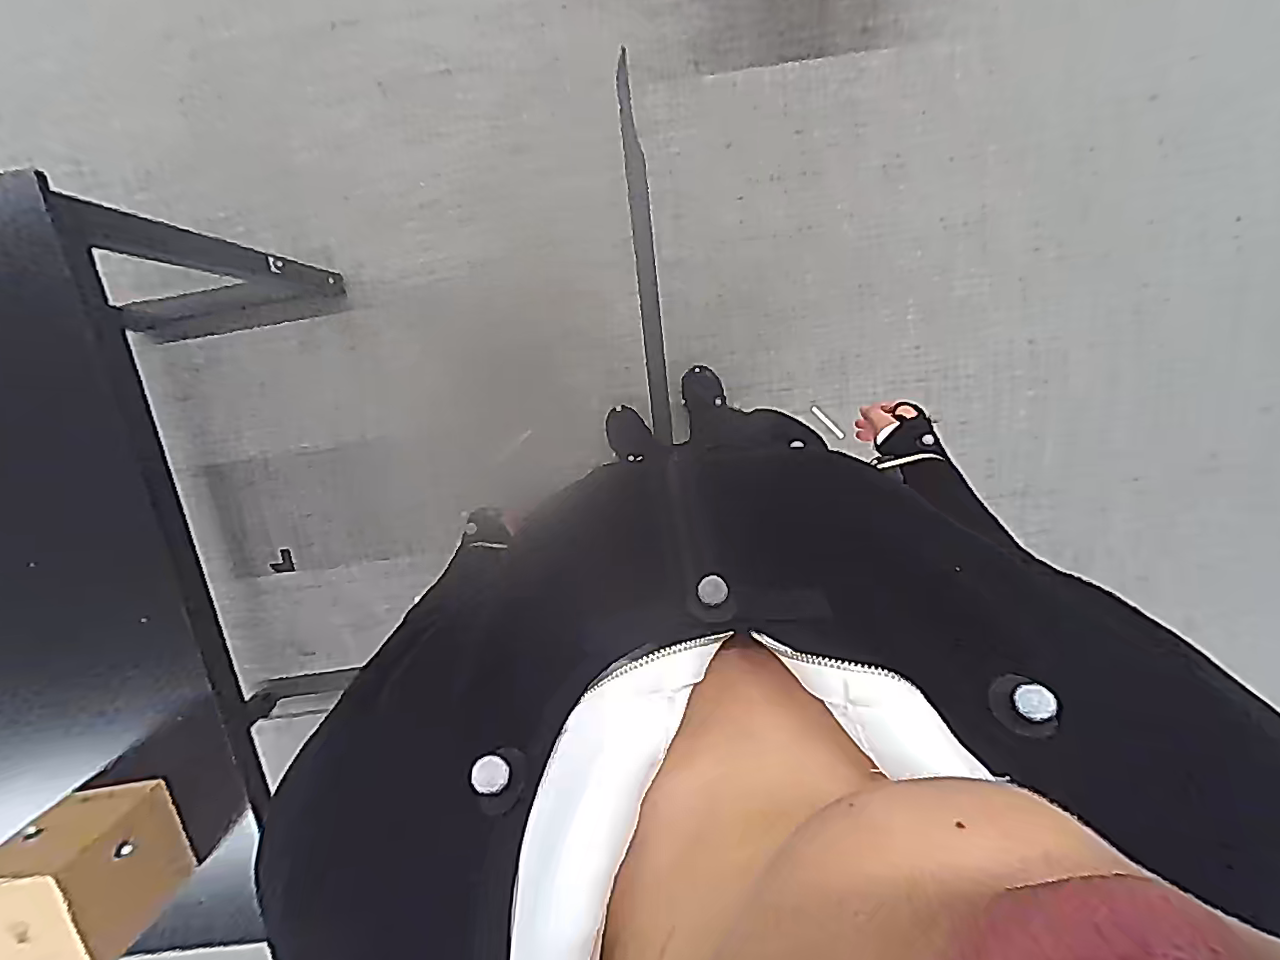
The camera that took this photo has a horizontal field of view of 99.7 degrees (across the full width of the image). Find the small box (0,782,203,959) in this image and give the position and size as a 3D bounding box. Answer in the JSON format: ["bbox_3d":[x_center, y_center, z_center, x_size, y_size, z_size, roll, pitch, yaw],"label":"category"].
[{"bbox_3d":[-0.815,0.581,0.806,0.168,0.176,0.179,-10,102,4],"label":"small box"}]
